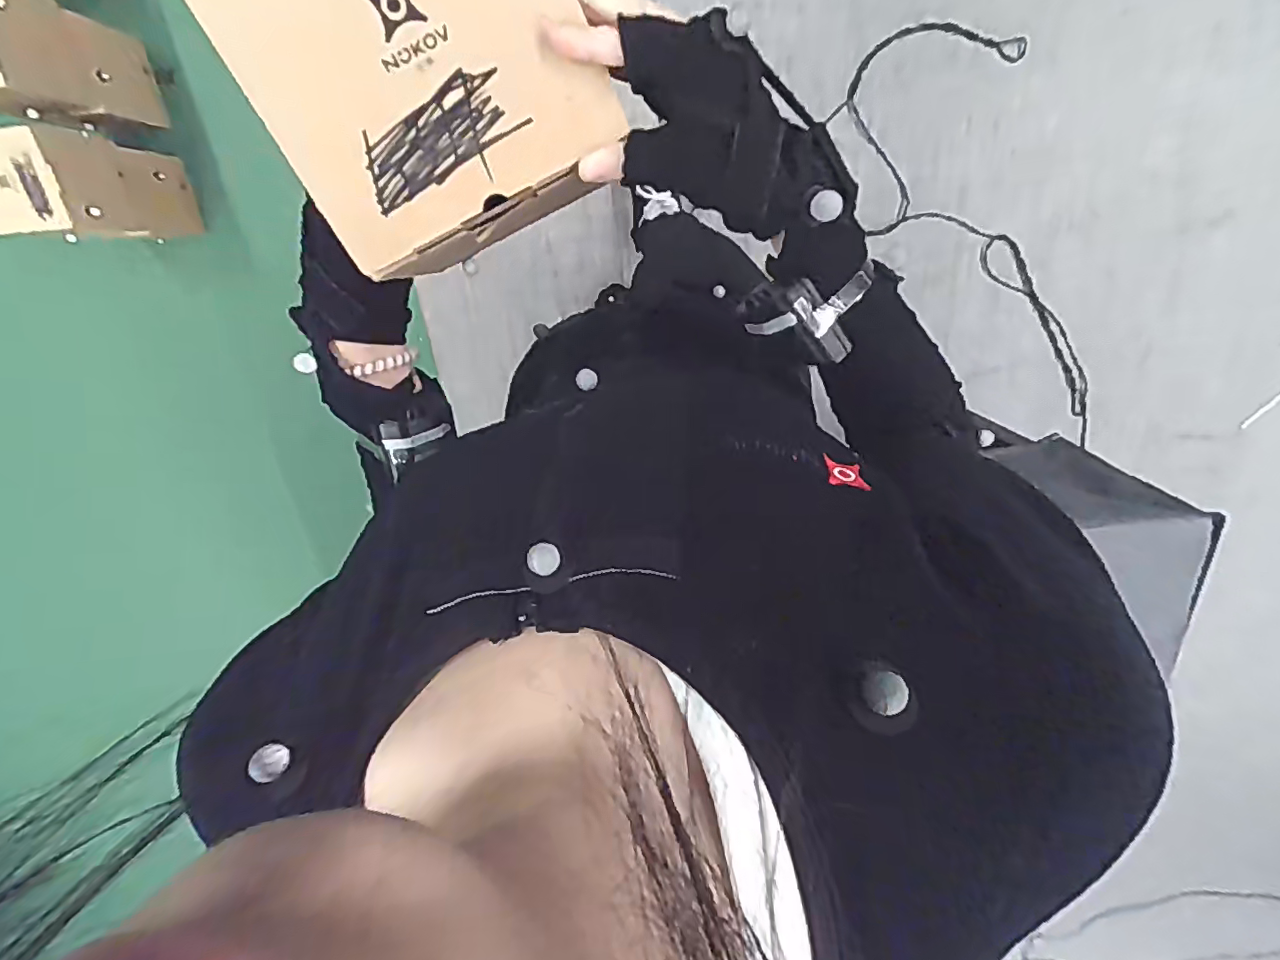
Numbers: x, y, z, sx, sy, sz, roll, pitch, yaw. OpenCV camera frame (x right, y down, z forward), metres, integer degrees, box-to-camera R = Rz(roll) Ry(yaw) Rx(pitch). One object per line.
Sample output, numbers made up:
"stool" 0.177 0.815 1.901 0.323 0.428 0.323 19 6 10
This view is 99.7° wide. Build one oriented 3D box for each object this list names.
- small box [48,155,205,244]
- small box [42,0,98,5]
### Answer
"small box" -1.131 -0.624 1.215 0.179 0.176 0.168 -2 113 1
"small box" -1.170 -1.052 1.035 0.179 0.176 0.168 -6 112 3
